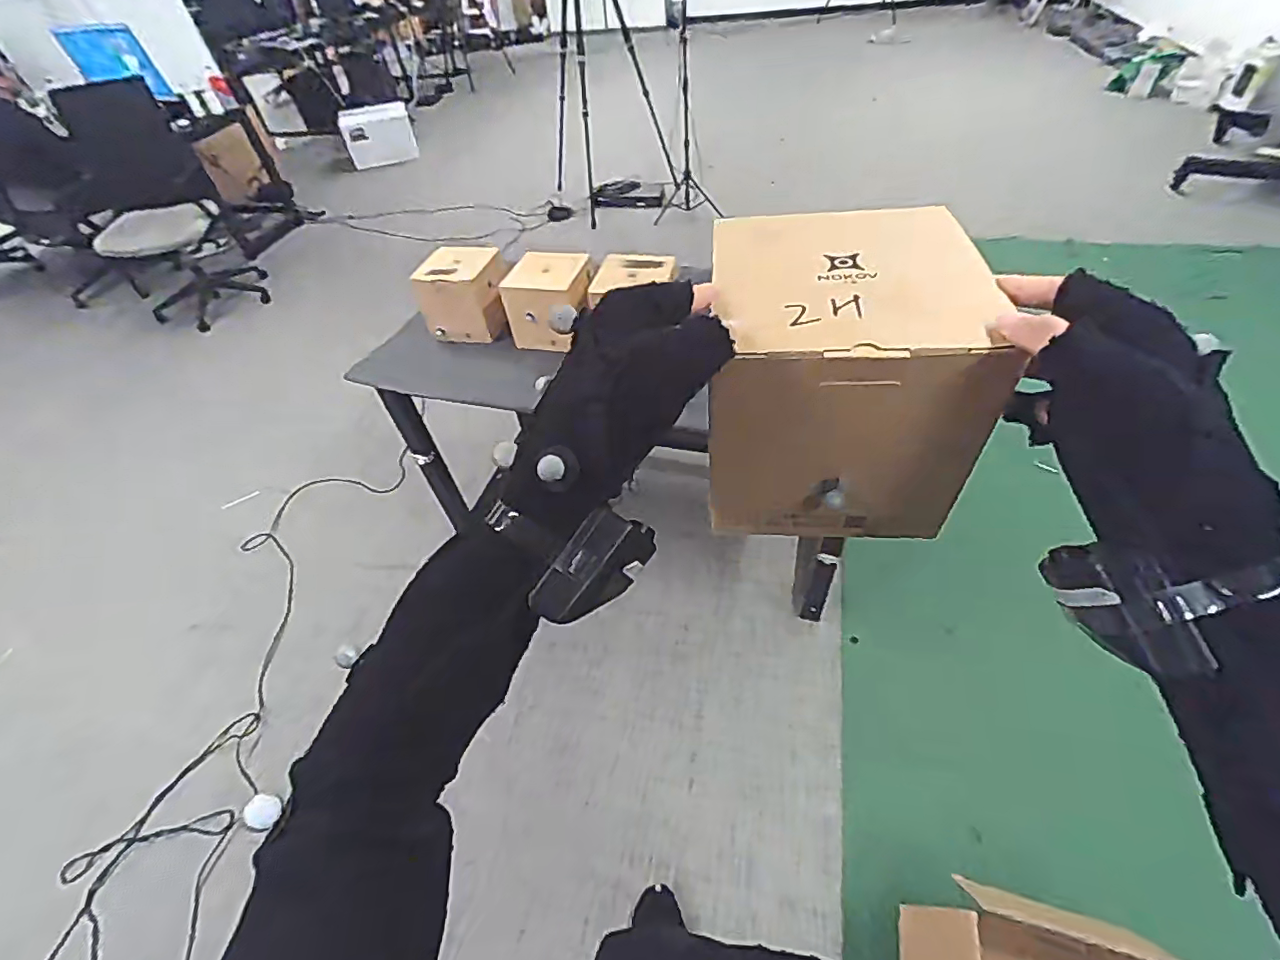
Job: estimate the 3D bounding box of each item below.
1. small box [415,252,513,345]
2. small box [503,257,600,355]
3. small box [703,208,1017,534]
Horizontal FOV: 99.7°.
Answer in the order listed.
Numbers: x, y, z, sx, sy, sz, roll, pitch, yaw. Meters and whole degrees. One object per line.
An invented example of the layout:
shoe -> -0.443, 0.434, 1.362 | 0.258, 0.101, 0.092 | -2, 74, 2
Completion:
small box -> -0.429, -0.457, 1.369 | 0.168, 0.176, 0.179 | 6, 47, 11
small box -> -0.203, -0.420, 1.311 | 0.168, 0.176, 0.179 | 8, 48, 14
small box -> 0.133, -0.080, 0.406 | 0.168, 0.176, 0.179 | 0, 48, 9
